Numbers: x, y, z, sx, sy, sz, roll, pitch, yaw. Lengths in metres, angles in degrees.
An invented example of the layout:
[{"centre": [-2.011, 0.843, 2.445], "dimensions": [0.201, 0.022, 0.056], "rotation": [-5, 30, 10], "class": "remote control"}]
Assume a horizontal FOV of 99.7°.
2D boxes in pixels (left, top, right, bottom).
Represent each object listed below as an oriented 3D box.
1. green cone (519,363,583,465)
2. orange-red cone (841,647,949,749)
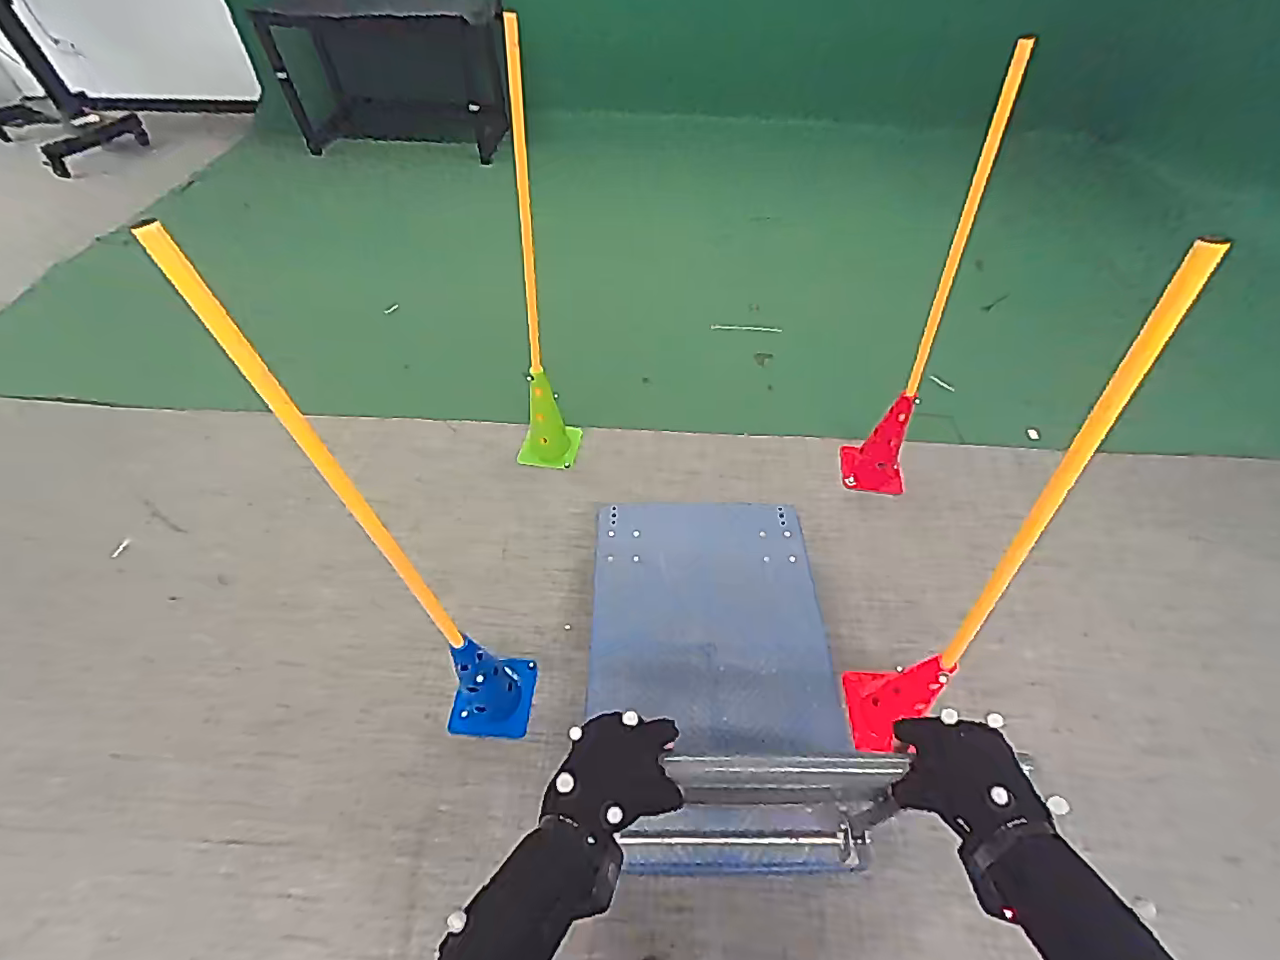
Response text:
[{"centre": [-0.322, -0.242, 1.828], "dimensions": [0.202, 0.368, 0.200], "rotation": [6, 51, 6], "class": "green cone"}, {"centre": [0.628, 0.478, 1.263], "dimensions": [0.199, 0.360, 0.198], "rotation": [2, 51, 3], "class": "orange-red cone"}]
